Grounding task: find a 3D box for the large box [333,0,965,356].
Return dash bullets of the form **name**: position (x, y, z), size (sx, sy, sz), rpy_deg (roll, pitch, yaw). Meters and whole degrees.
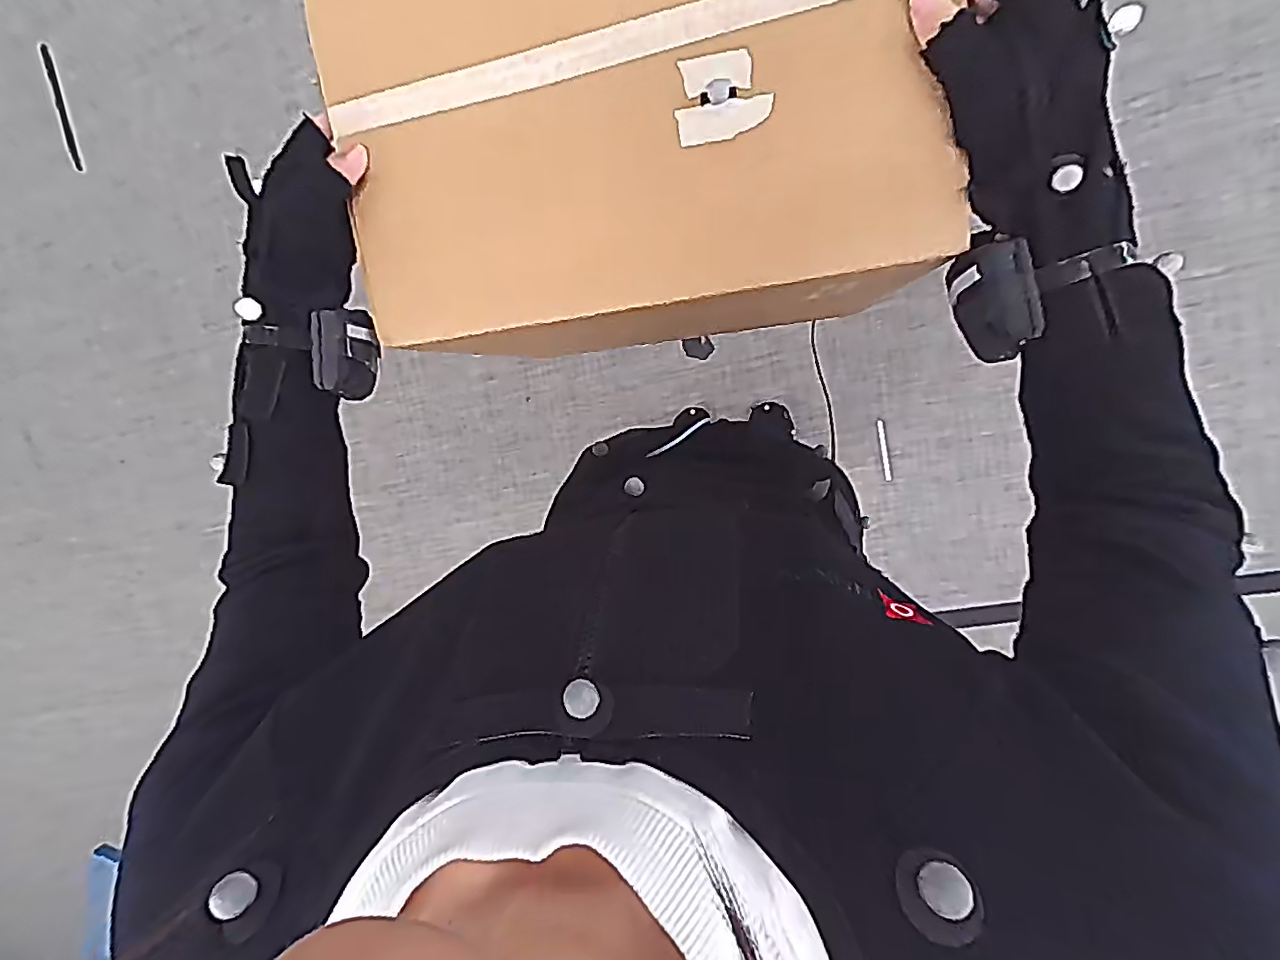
- **large box**: position (0.013, -0.305, 0.496), size (0.408, 0.320, 0.320), rpy_deg (-6, 100, 12)
